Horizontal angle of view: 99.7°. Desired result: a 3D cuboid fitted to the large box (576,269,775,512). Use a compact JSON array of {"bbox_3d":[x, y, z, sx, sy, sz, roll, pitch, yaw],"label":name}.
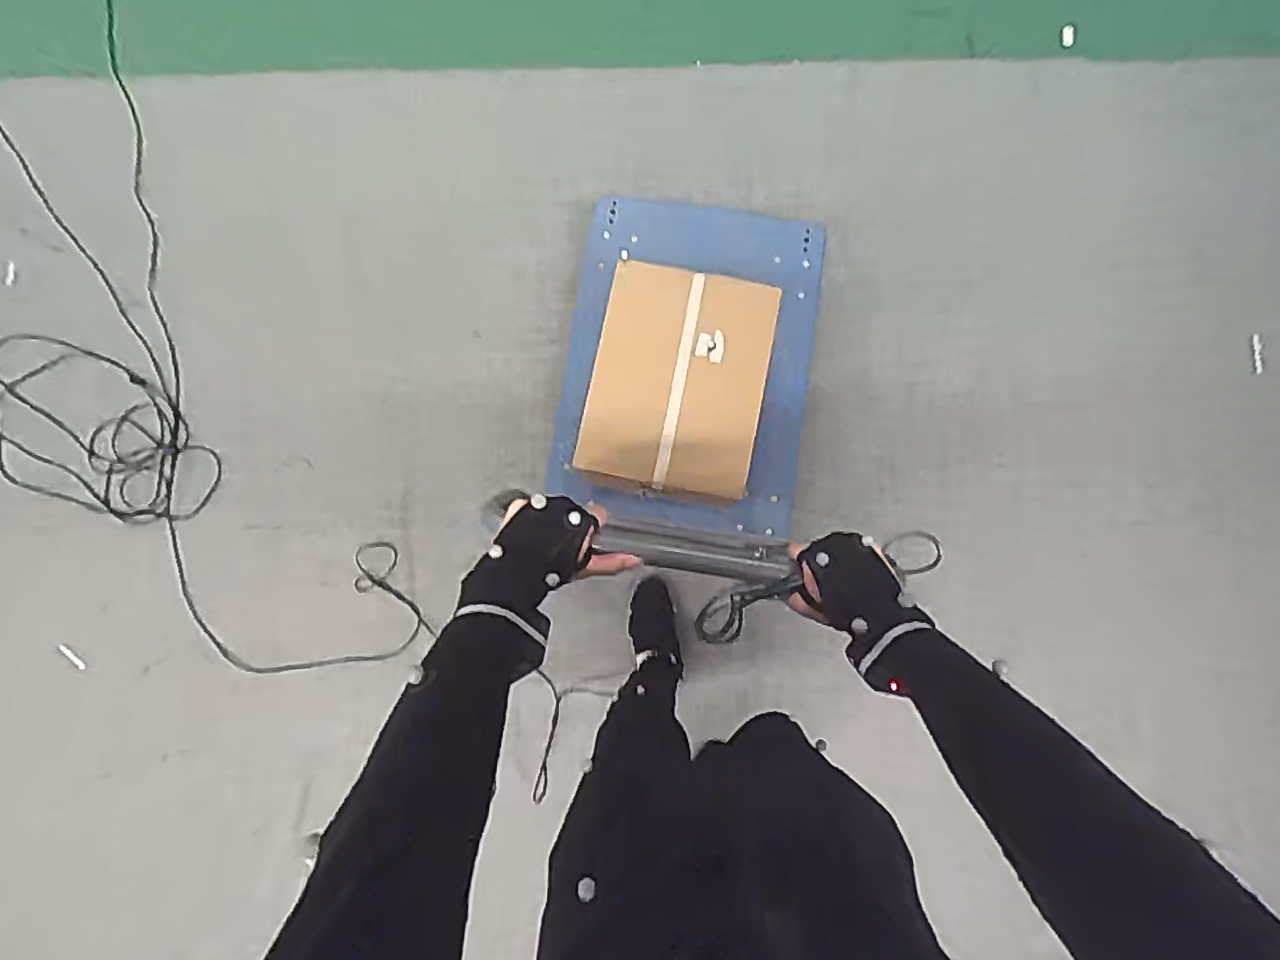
[{"bbox_3d":[0.070,-0.160,1.139,0.320,0.320,0.408,12,83,1],"label":"large box"}]
